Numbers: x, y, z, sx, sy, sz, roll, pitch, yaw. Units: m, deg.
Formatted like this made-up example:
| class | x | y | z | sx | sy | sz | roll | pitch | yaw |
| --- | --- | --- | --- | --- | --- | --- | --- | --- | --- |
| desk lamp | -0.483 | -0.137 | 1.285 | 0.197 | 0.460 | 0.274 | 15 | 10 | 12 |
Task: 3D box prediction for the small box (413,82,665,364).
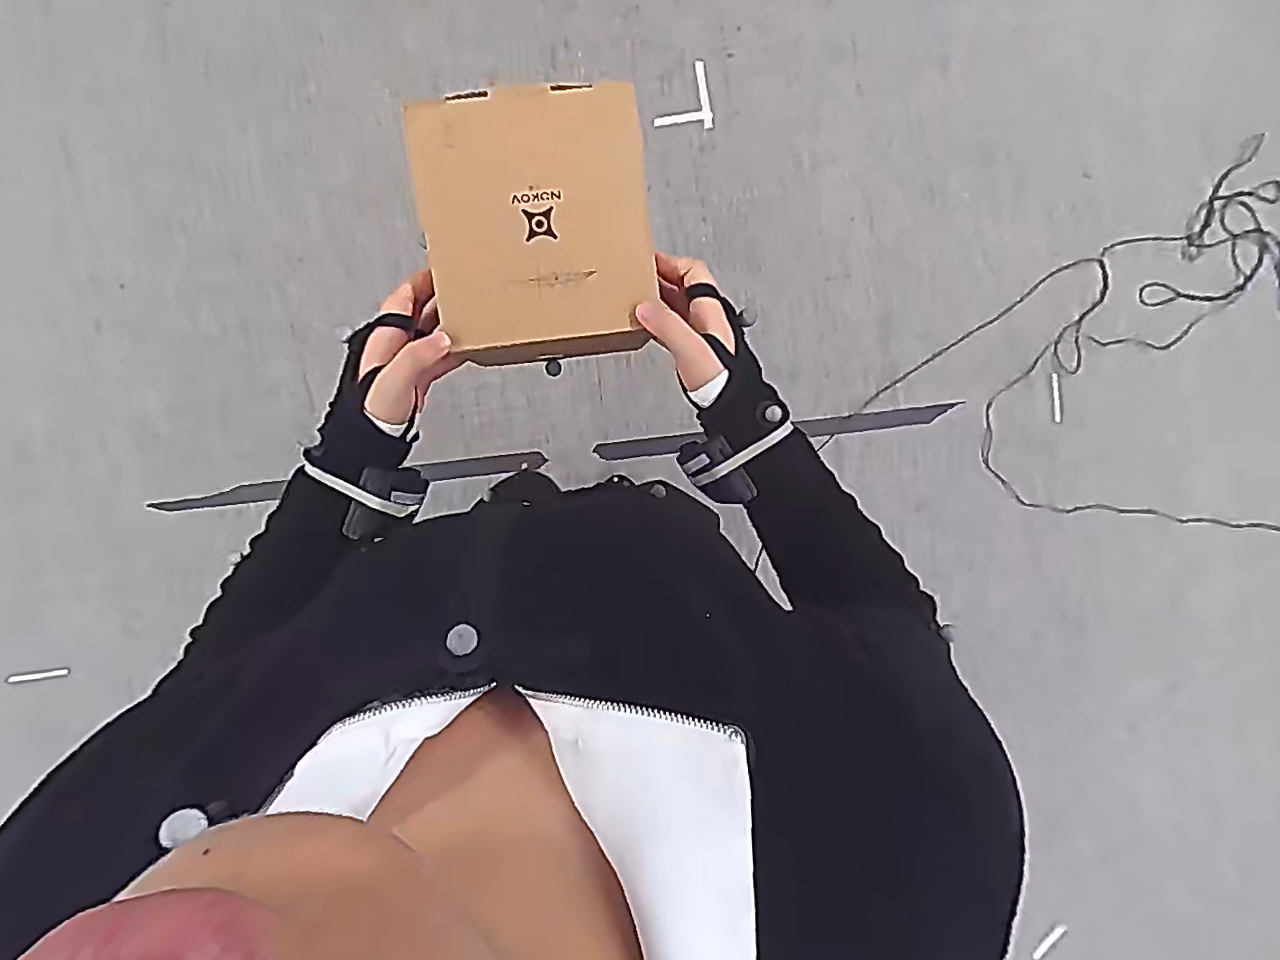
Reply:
| class | x | y | z | sx | sy | sz | roll | pitch | yaw |
| --- | --- | --- | --- | --- | --- | --- | --- | --- | --- |
| small box | -0.078 | -0.204 | 0.474 | 0.168 | 0.176 | 0.179 | -8 | 99 | -5 |
